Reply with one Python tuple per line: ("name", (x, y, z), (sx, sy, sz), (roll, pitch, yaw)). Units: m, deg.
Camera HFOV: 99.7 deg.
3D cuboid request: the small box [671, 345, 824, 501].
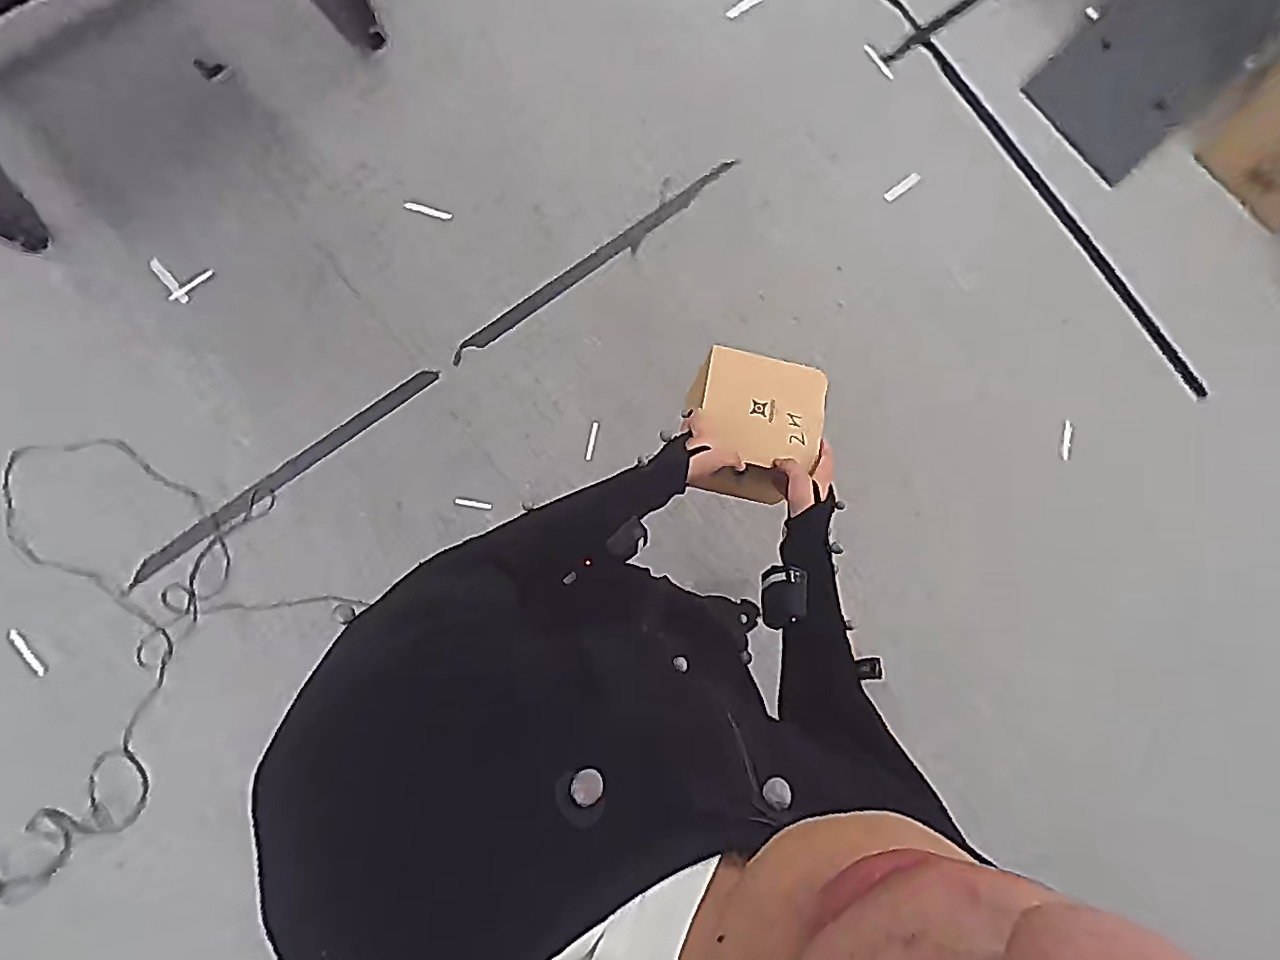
("small box", (0.153, -0.075, 0.819), (0.179, 0.176, 0.168), (13, 75, -4))
